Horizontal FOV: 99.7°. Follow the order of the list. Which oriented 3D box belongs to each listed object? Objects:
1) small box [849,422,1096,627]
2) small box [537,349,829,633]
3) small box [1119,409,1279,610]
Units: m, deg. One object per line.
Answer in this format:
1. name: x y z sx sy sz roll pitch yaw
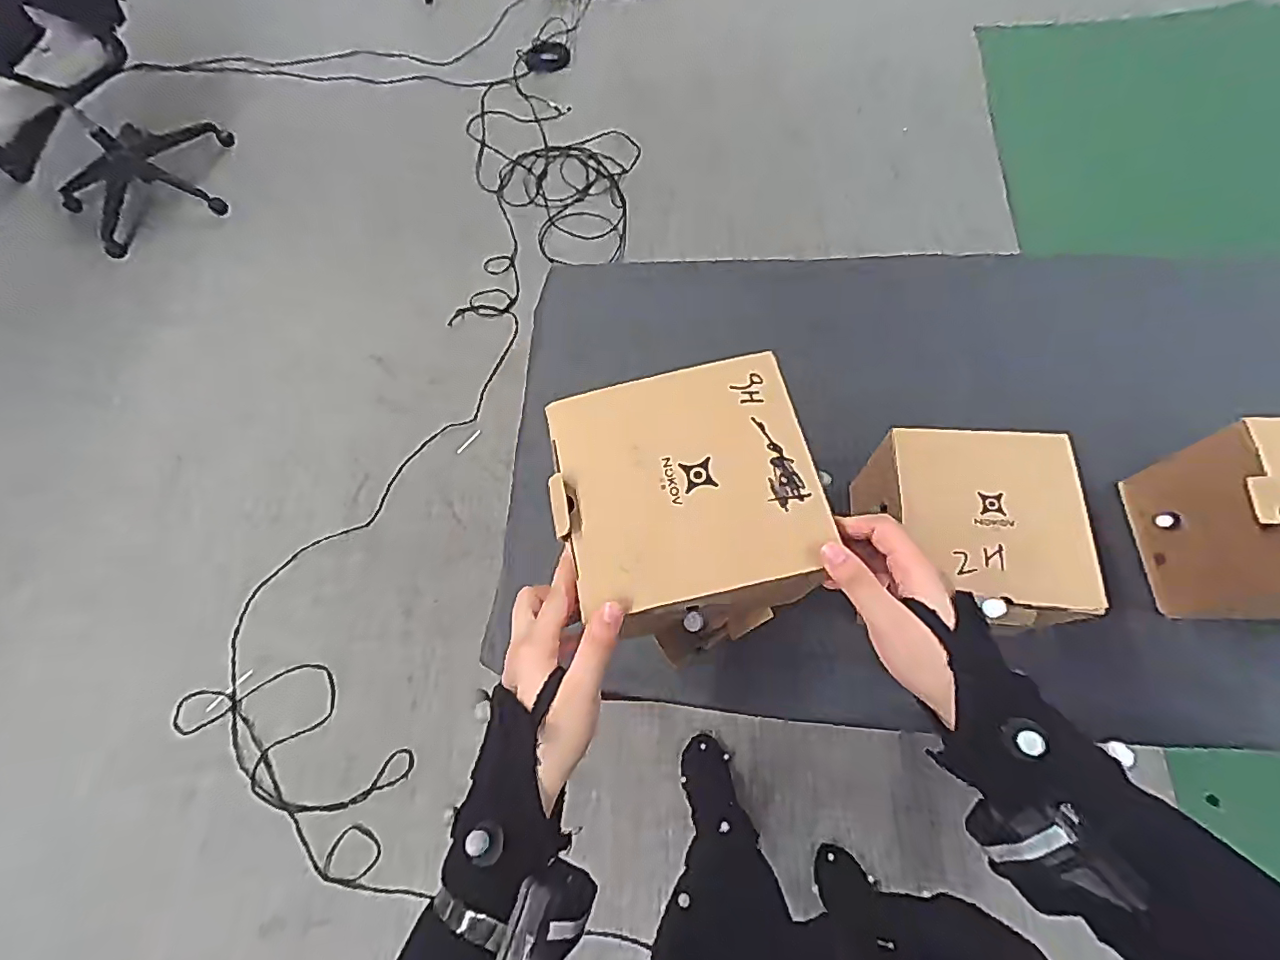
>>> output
1. small box: 0.330 0.054 0.582 0.168 0.176 0.179 2 69 8
2. small box: 0.032 0.024 0.451 0.179 0.176 0.168 -15 69 2
3. small box: 0.659 0.037 0.552 0.179 0.176 0.168 -2 68 7
